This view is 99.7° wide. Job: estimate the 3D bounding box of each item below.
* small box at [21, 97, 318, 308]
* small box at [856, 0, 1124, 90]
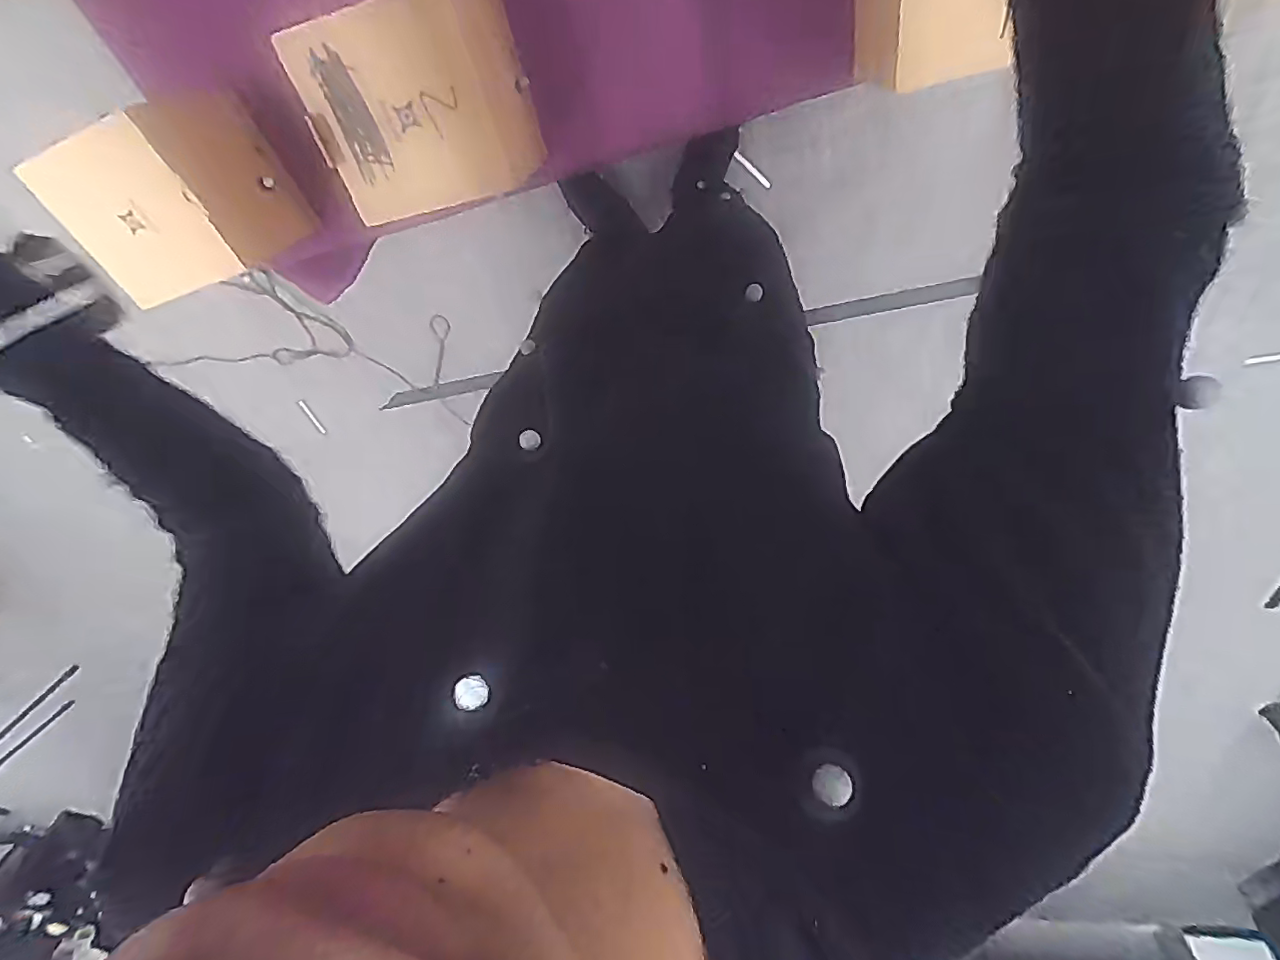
[{"bbox_3d":[-0.547,-0.338,0.659,0.179,0.176,0.168,-12,128,15],"label":"small box"},{"bbox_3d":[0.285,-0.458,0.454,0.168,0.176,0.179,-6,130,13],"label":"small box"}]
